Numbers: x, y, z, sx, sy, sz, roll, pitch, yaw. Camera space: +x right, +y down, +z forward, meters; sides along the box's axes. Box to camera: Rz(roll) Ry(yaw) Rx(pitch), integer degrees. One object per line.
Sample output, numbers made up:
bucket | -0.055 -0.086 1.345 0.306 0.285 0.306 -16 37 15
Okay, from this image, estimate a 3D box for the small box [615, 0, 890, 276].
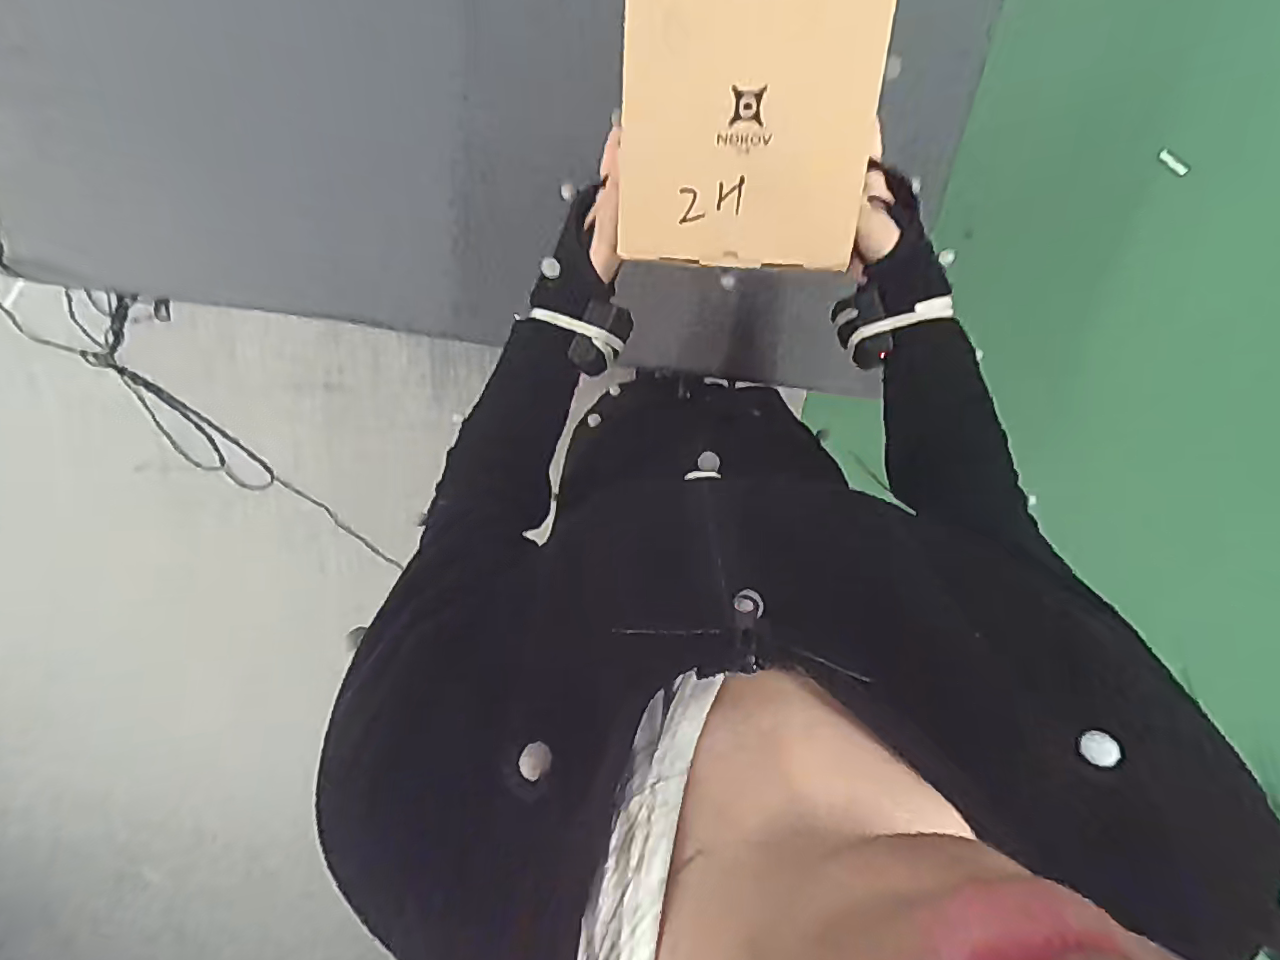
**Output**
small box | 0.079 -0.260 0.430 0.168 0.176 0.179 6 111 9
